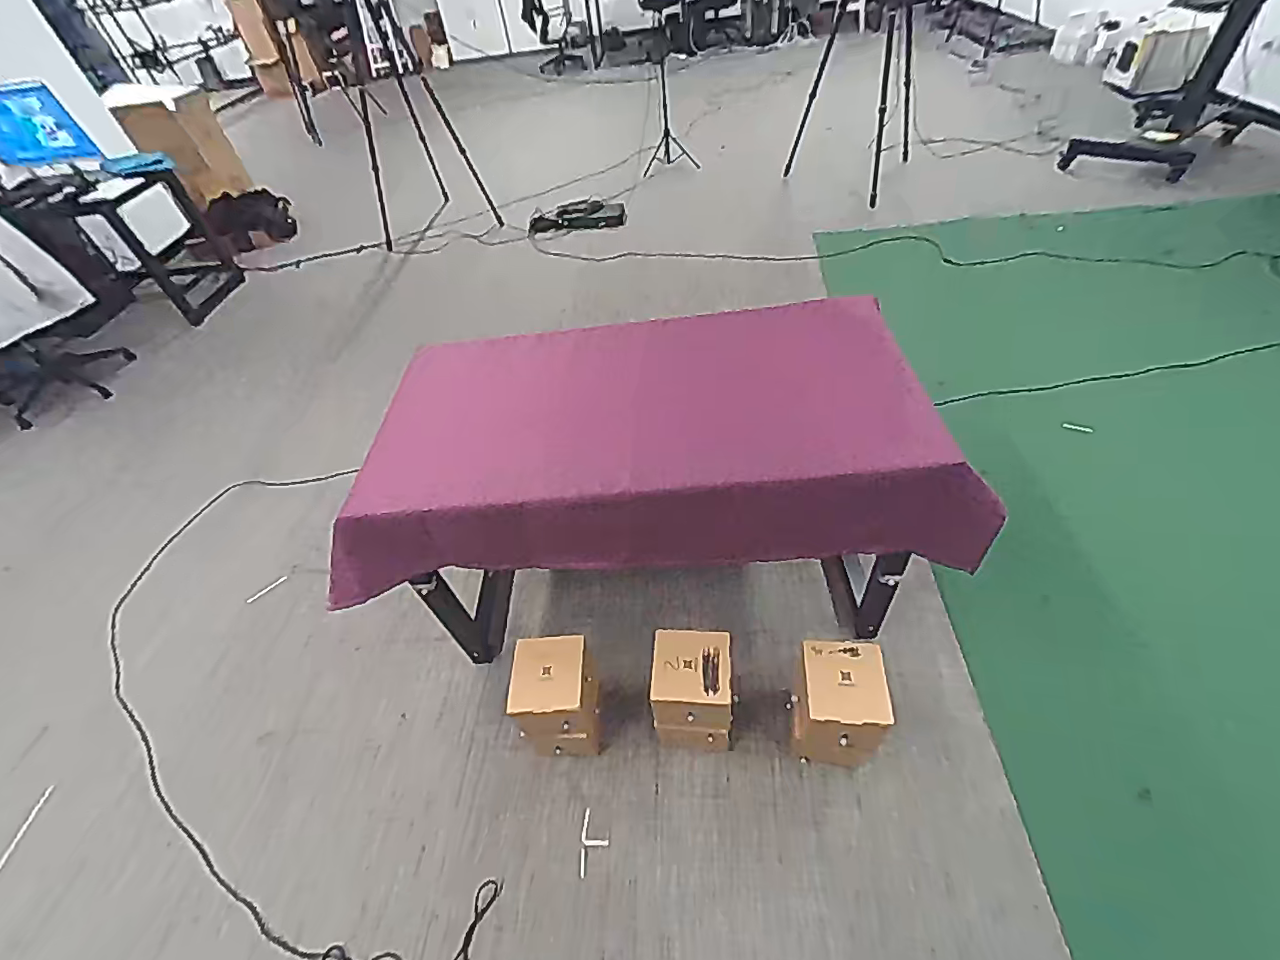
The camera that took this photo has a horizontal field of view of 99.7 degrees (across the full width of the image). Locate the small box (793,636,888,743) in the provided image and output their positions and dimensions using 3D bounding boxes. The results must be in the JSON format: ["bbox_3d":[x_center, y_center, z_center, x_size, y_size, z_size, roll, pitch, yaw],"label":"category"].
[{"bbox_3d":[0.438,0.471,1.209,0.168,0.176,0.179,2,50,8],"label":"small box"}]

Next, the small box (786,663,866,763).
[{"bbox_3d":[0.455,0.577,1.336,0.168,0.176,0.179,4,48,12],"label":"small box"}]
